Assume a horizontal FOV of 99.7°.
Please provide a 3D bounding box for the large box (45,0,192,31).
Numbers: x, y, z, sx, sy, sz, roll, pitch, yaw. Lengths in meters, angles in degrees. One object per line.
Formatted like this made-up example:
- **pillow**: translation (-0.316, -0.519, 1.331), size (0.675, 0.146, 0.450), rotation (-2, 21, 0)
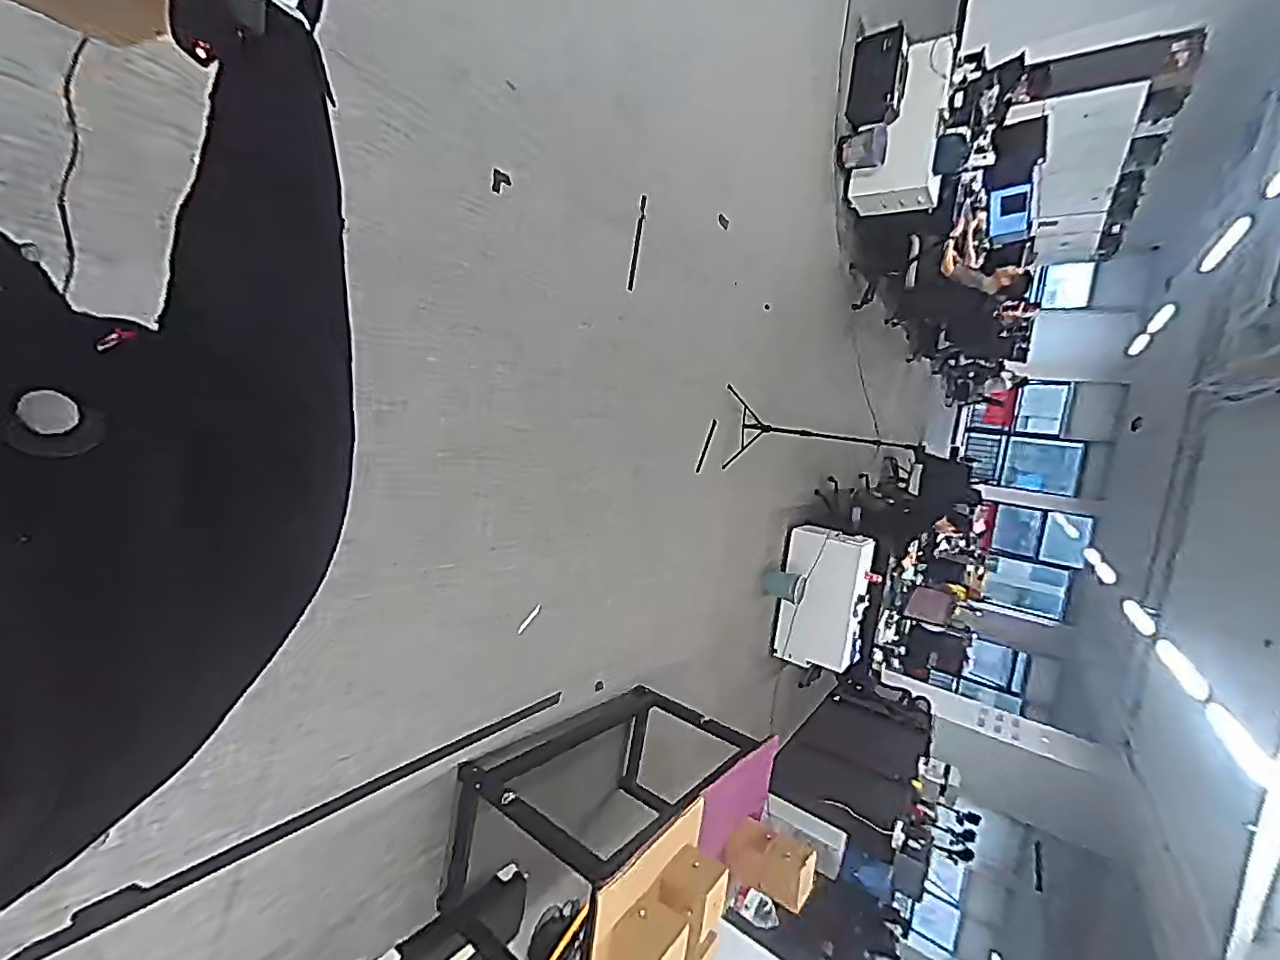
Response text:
- **large box**: translation (-0.512, -0.552, 0.298), size (0.408, 0.320, 0.320), rotation (-4, 114, -54)
